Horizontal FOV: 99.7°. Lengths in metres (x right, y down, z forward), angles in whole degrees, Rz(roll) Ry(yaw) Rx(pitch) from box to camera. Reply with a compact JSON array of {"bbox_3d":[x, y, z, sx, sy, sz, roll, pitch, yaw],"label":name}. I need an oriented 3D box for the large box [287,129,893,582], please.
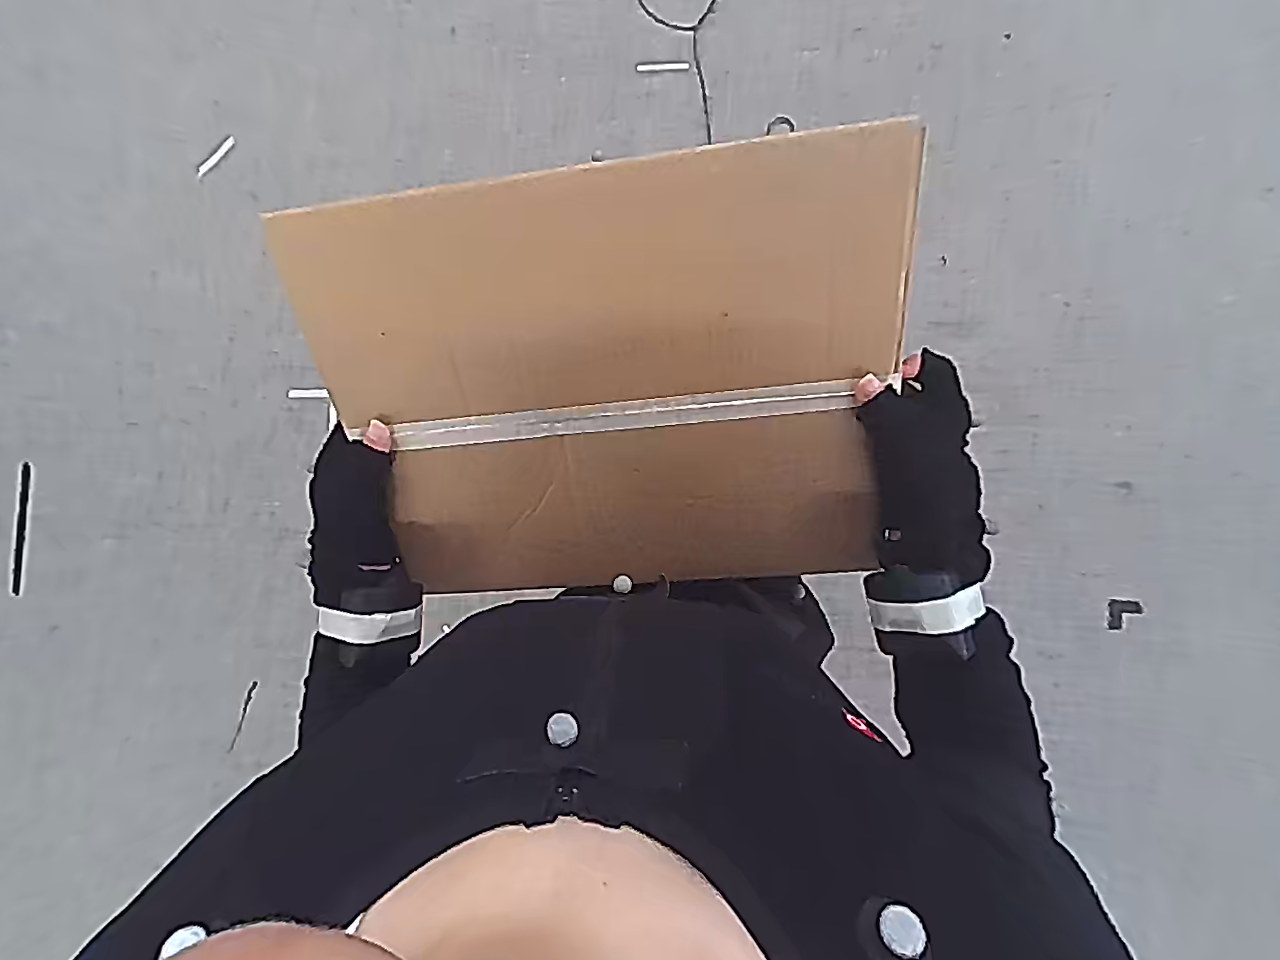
[{"bbox_3d":[-0.013,-0.127,0.538,0.408,0.320,0.320,-5,119,7],"label":"large box"}]
